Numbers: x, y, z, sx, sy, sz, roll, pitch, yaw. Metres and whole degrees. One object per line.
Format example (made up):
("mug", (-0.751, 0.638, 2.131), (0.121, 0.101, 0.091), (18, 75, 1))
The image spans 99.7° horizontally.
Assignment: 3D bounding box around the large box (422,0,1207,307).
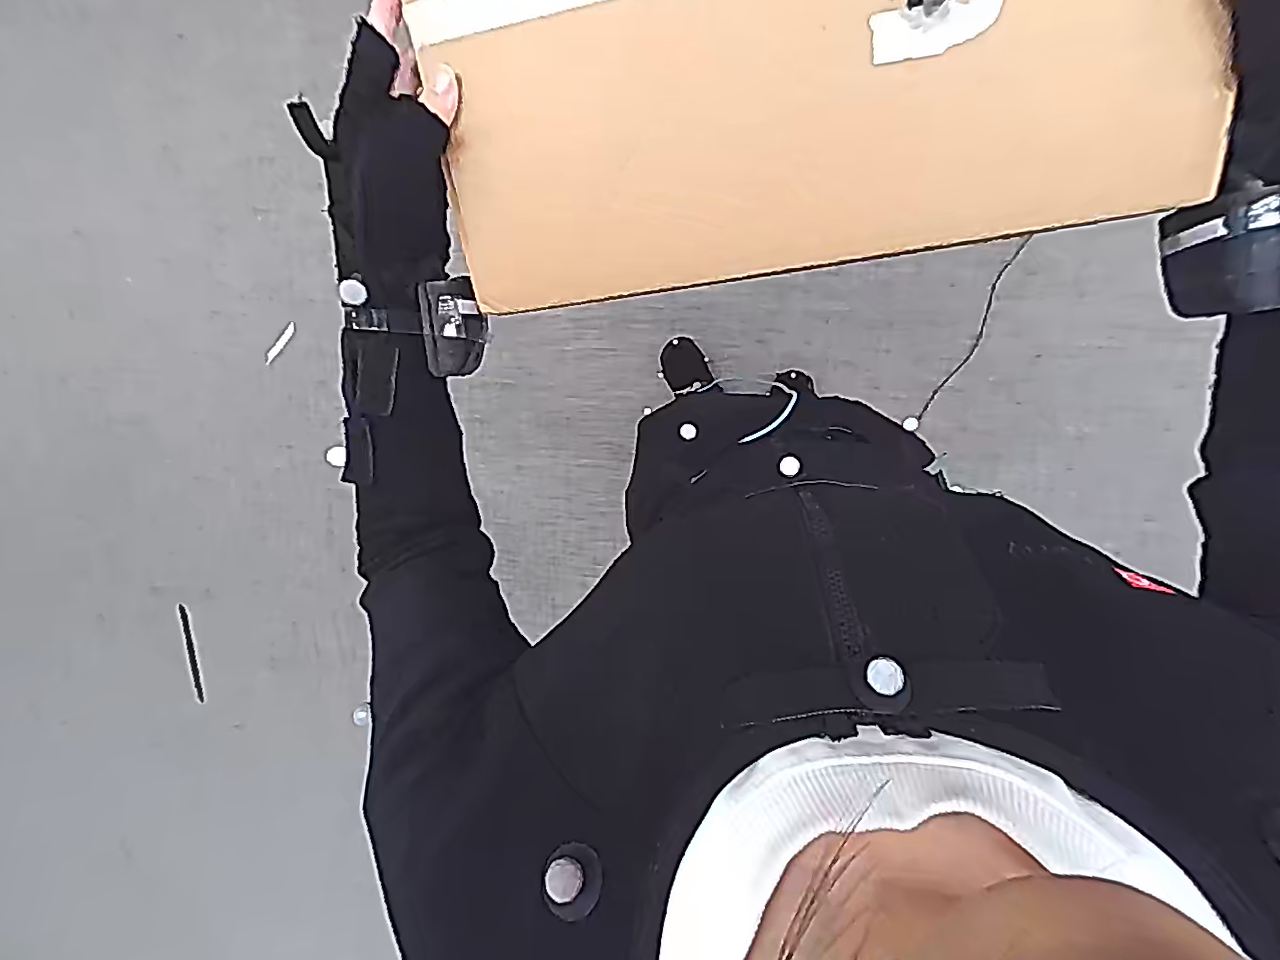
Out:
("large box", (0.089, -0.331, 0.414), (0.408, 0.320, 0.320), (-6, 110, 10))
